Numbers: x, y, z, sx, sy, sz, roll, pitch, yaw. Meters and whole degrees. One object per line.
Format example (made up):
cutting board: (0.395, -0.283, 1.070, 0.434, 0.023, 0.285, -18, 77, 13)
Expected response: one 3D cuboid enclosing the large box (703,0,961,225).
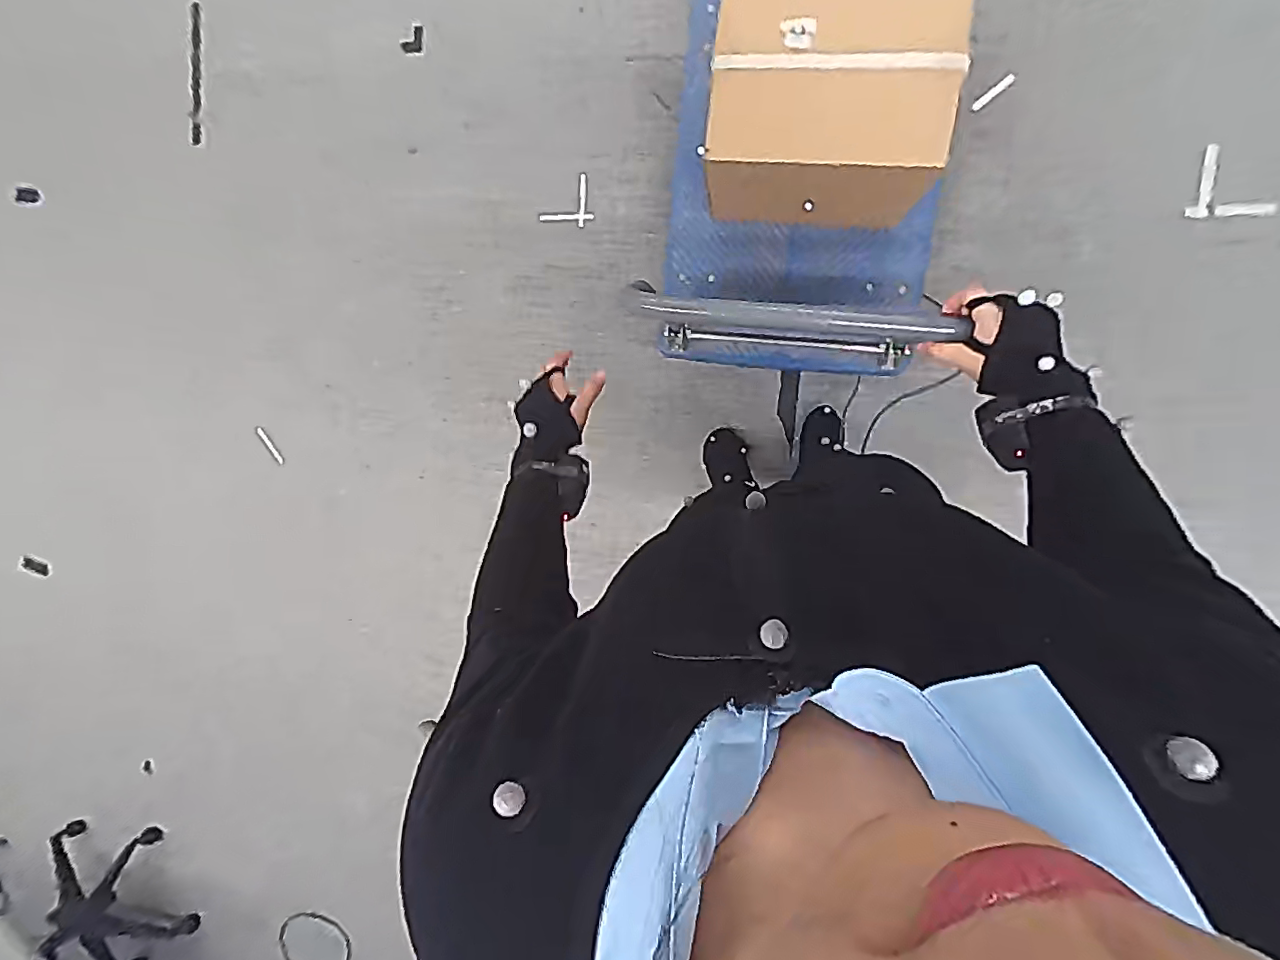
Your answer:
large box: (0.352, -0.718, 1.075, 0.408, 0.320, 0.320, 7, 97, 11)
